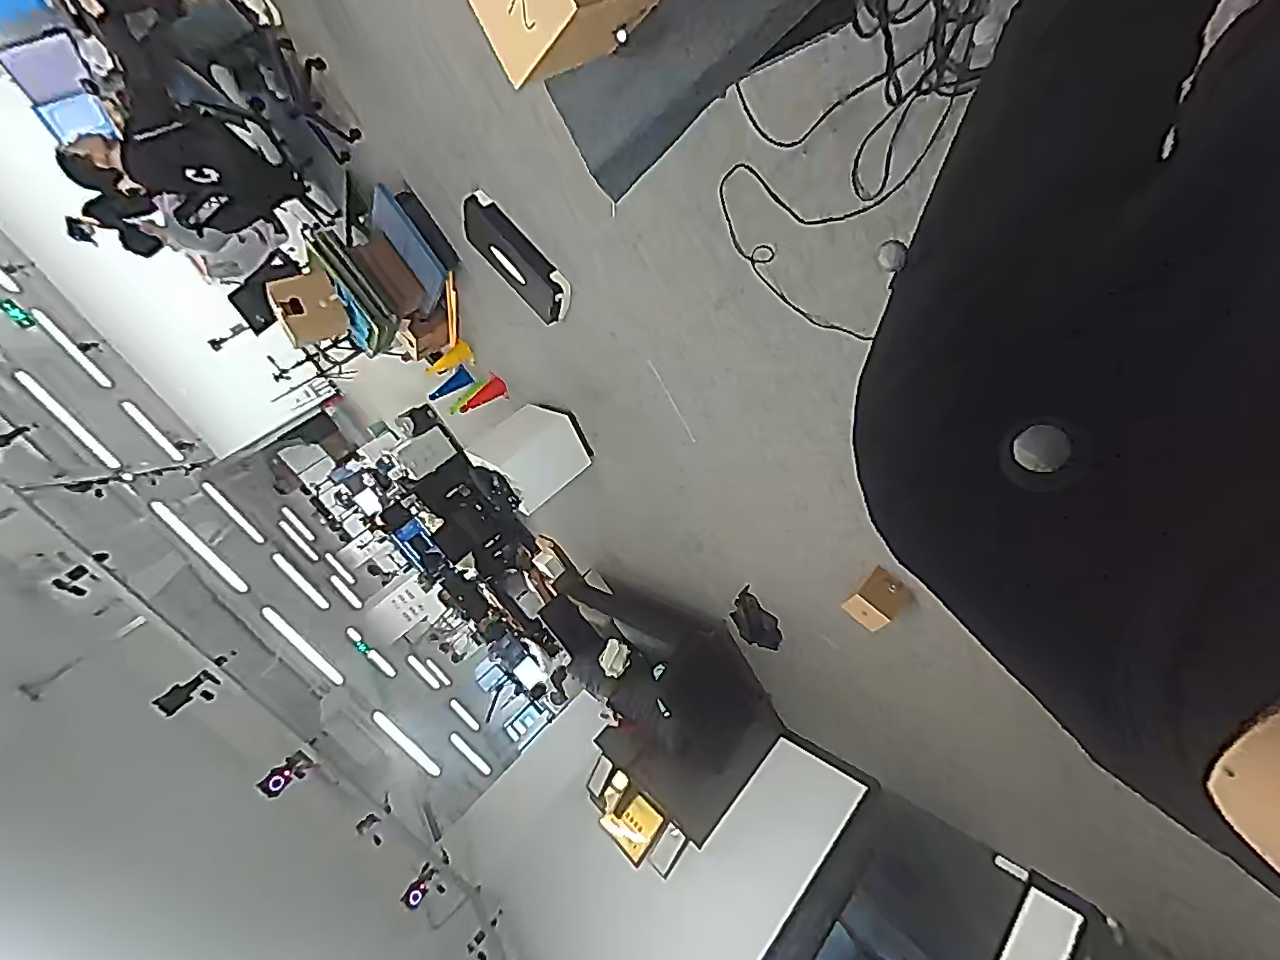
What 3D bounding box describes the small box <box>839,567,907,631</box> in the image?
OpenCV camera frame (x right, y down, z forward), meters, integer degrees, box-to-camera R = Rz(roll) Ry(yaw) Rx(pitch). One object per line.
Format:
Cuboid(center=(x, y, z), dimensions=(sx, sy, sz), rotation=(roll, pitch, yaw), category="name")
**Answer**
Cuboid(center=(0.970, 0.494, 2.243), dimensions=(0.168, 0.176, 0.179), rotation=(40, 154, 17), category="small box")
